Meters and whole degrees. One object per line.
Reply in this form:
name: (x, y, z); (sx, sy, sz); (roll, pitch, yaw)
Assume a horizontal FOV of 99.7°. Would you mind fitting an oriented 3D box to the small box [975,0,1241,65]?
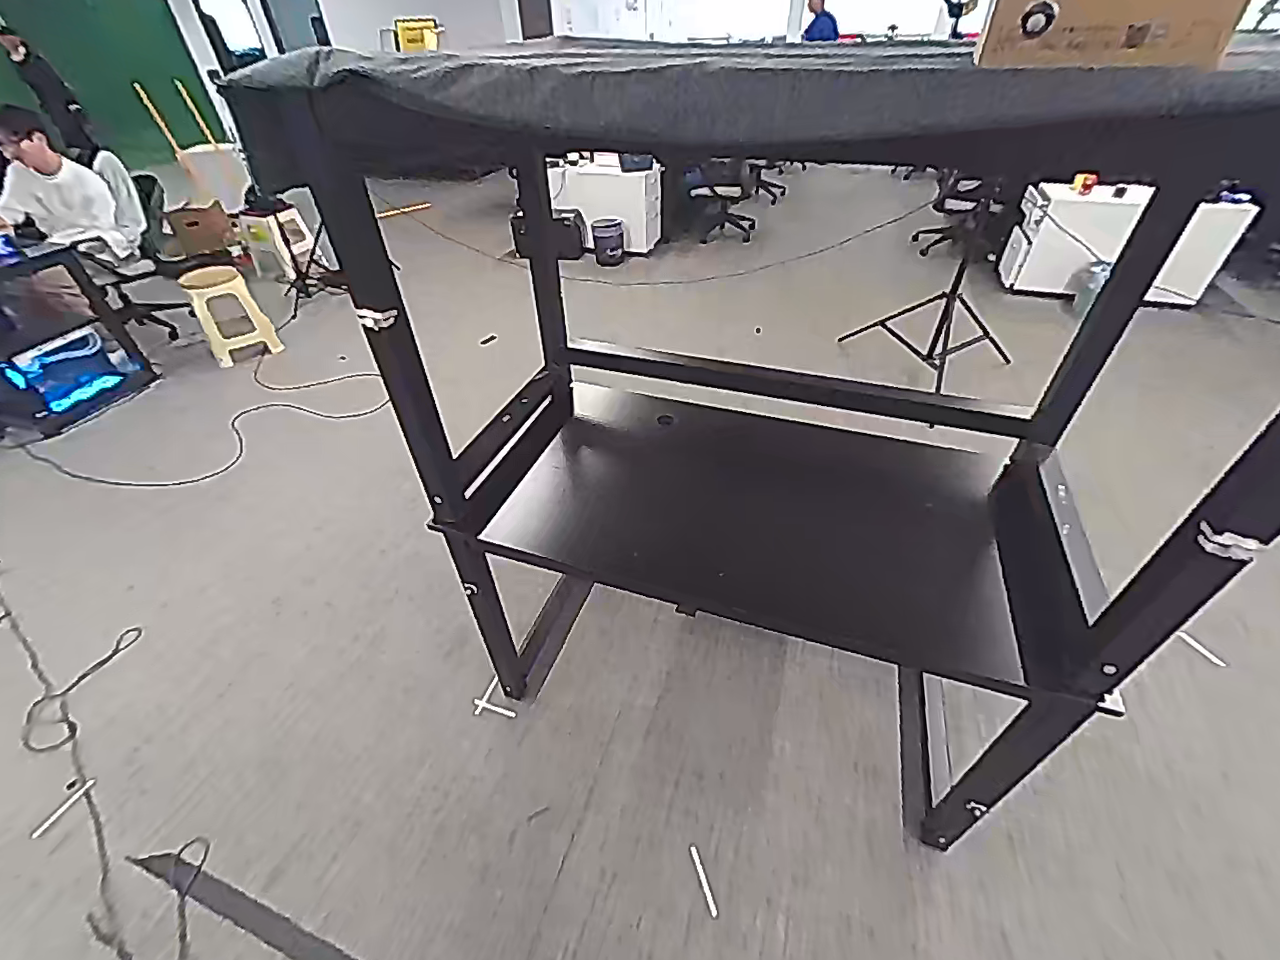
small box: (0.395, -0.450, 0.443); (0.168, 0.176, 0.179); (15, 41, 19)
